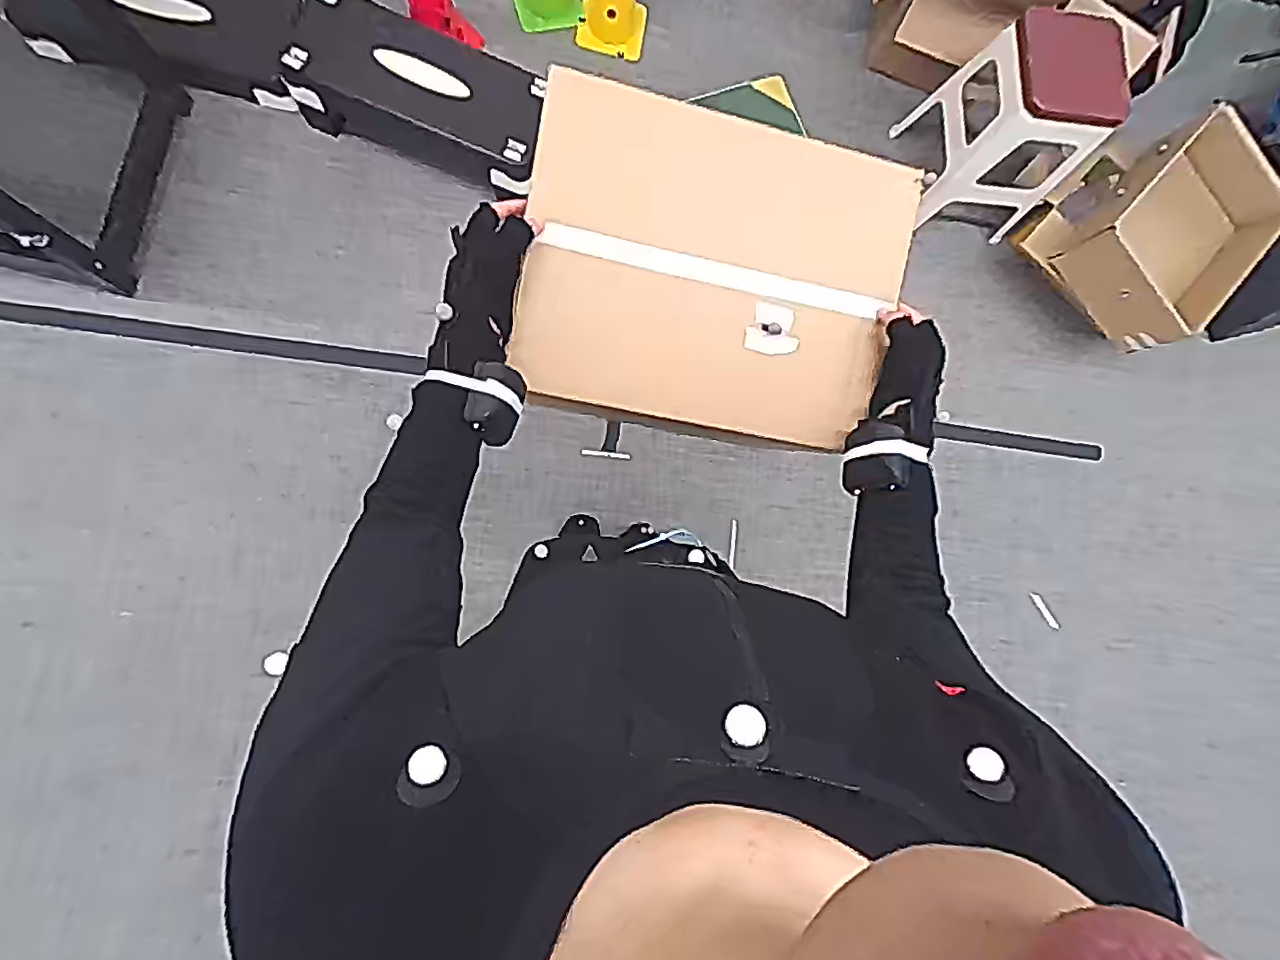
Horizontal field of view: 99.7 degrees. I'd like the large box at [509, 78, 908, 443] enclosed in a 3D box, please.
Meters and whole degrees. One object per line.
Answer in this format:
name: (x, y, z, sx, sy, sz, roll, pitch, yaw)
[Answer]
large box: (0.057, -0.236, 0.725, 0.408, 0.320, 0.320, 10, 95, -9)
